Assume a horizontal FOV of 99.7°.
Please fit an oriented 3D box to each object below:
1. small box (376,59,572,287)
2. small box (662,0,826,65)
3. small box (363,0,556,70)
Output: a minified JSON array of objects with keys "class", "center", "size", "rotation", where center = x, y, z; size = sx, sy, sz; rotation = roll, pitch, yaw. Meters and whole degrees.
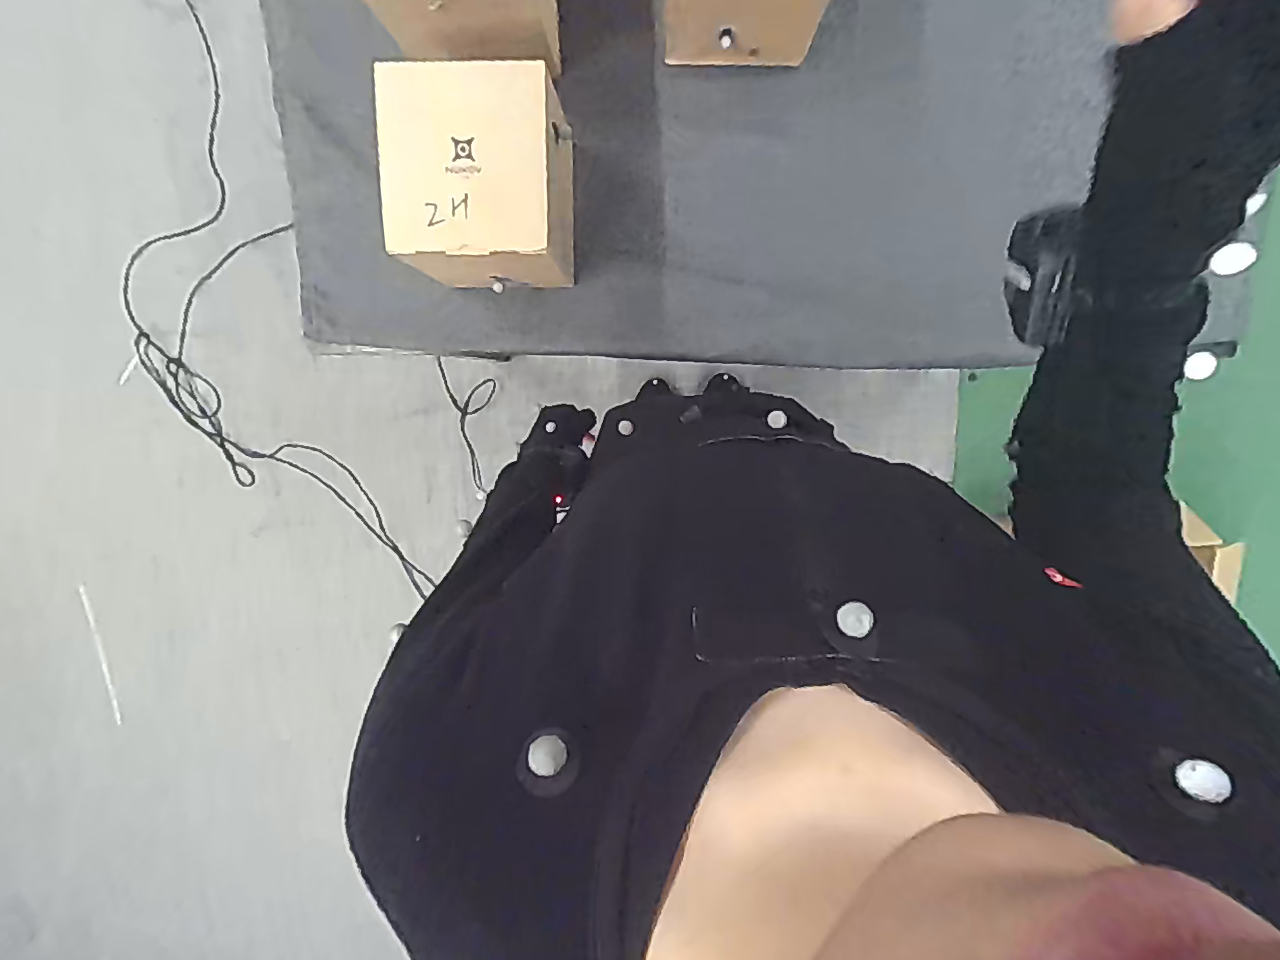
[{"class":"small box","center":[-0.170,-0.324,0.603],"size":[0.168,0.176,0.179],"rotation":[1,99,2]},{"class":"small box","center":[0.108,-0.571,0.553],"size":[0.168,0.176,0.179],"rotation":[1,102,1]},{"class":"small box","center":[-0.184,-0.557,0.562],"size":[0.168,0.176,0.179],"rotation":[-1,100,2]}]
